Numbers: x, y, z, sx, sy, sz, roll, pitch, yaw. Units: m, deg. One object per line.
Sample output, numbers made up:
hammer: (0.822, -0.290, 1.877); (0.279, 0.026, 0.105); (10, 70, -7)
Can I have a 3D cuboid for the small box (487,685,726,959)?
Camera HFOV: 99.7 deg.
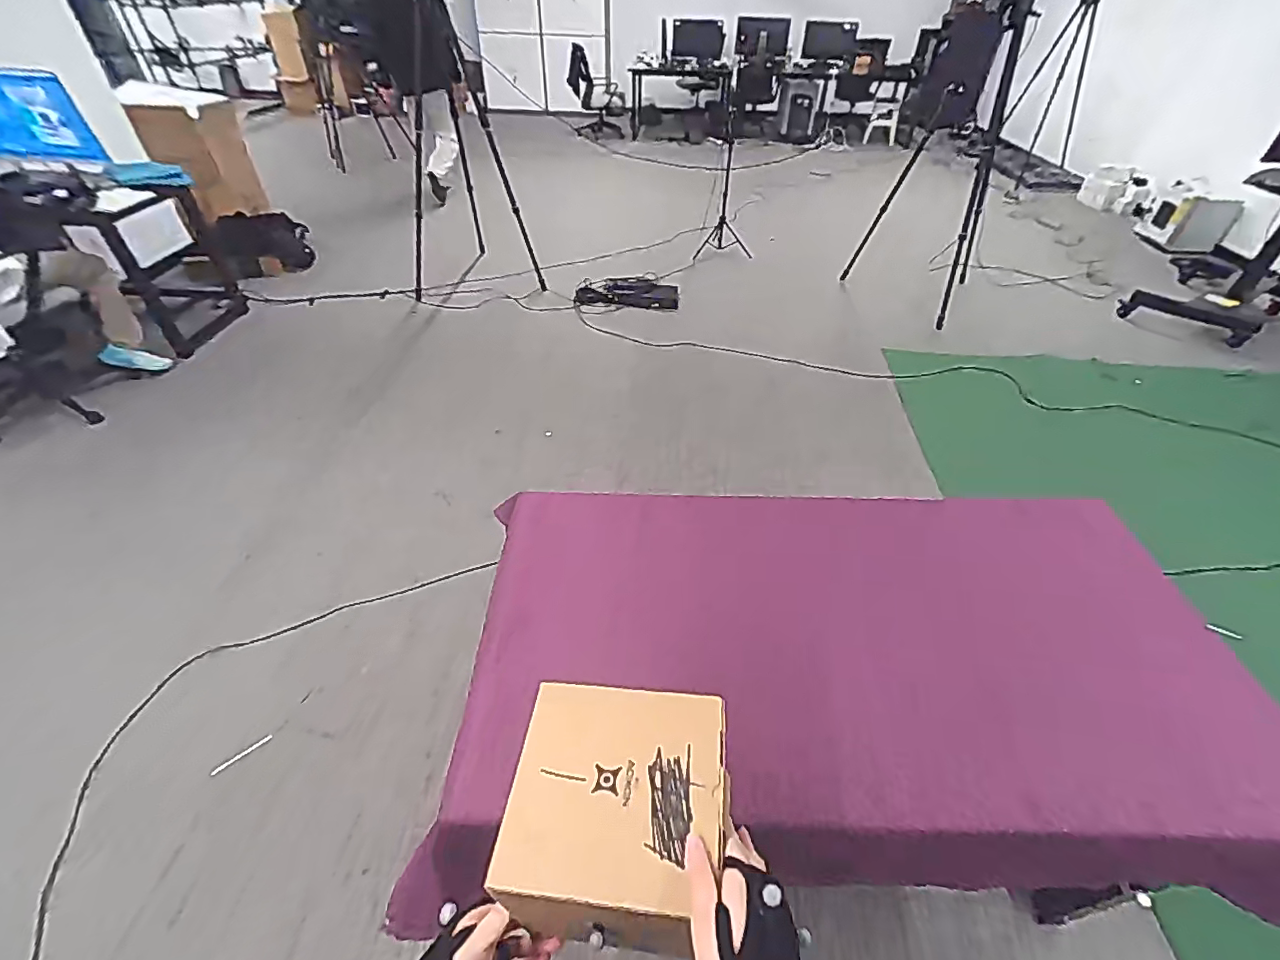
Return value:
small box: (-0.013, 0.316, 0.502); (0.179, 0.176, 0.168); (2, 40, 9)
